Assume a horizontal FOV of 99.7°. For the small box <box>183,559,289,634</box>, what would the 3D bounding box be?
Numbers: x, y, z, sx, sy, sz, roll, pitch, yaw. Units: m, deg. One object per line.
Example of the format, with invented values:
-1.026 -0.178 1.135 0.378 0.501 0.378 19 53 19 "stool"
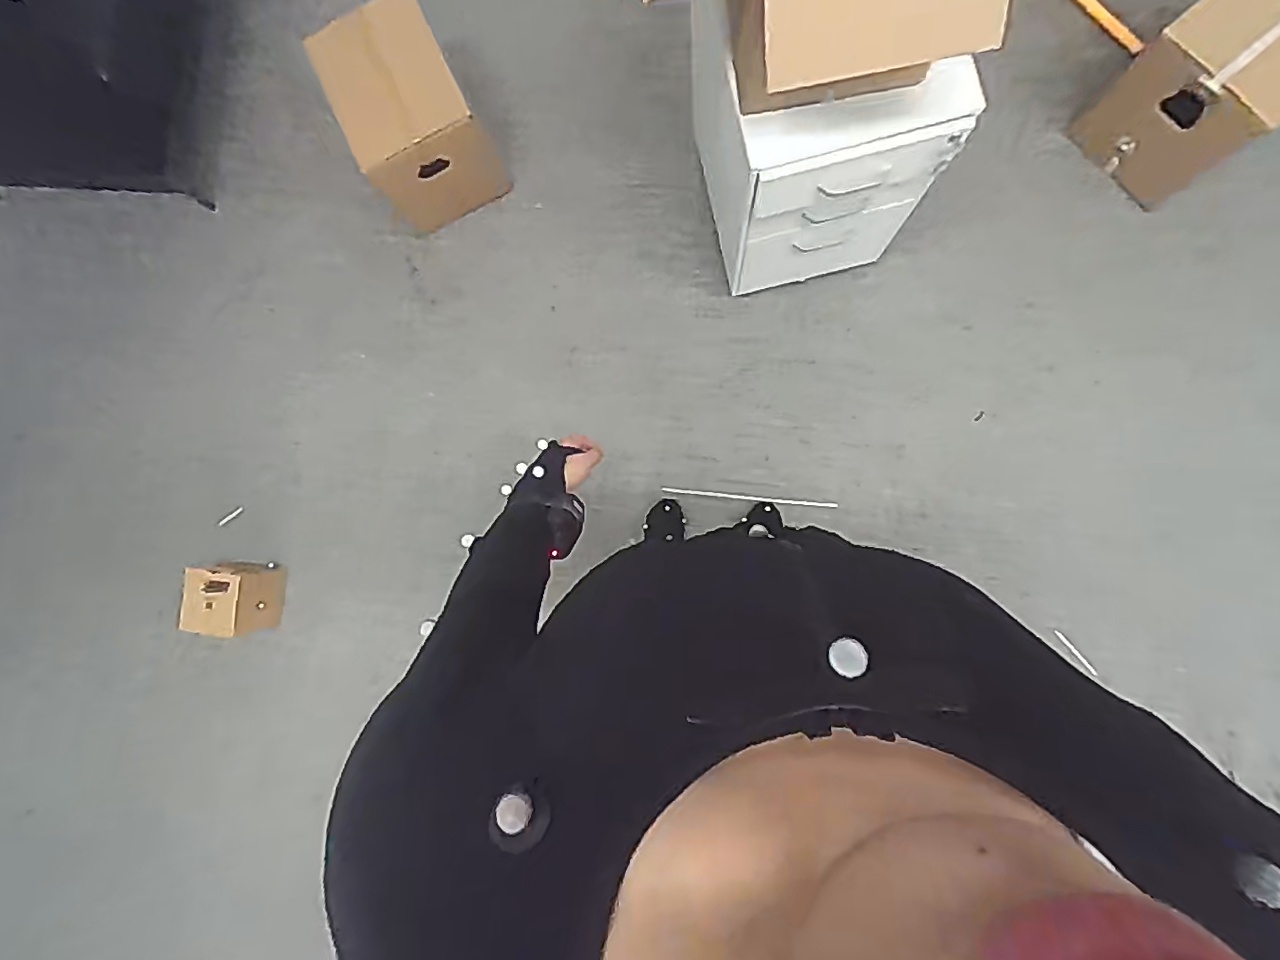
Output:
-1.152 0.328 1.556 0.168 0.176 0.179 7 88 6 "small box"
